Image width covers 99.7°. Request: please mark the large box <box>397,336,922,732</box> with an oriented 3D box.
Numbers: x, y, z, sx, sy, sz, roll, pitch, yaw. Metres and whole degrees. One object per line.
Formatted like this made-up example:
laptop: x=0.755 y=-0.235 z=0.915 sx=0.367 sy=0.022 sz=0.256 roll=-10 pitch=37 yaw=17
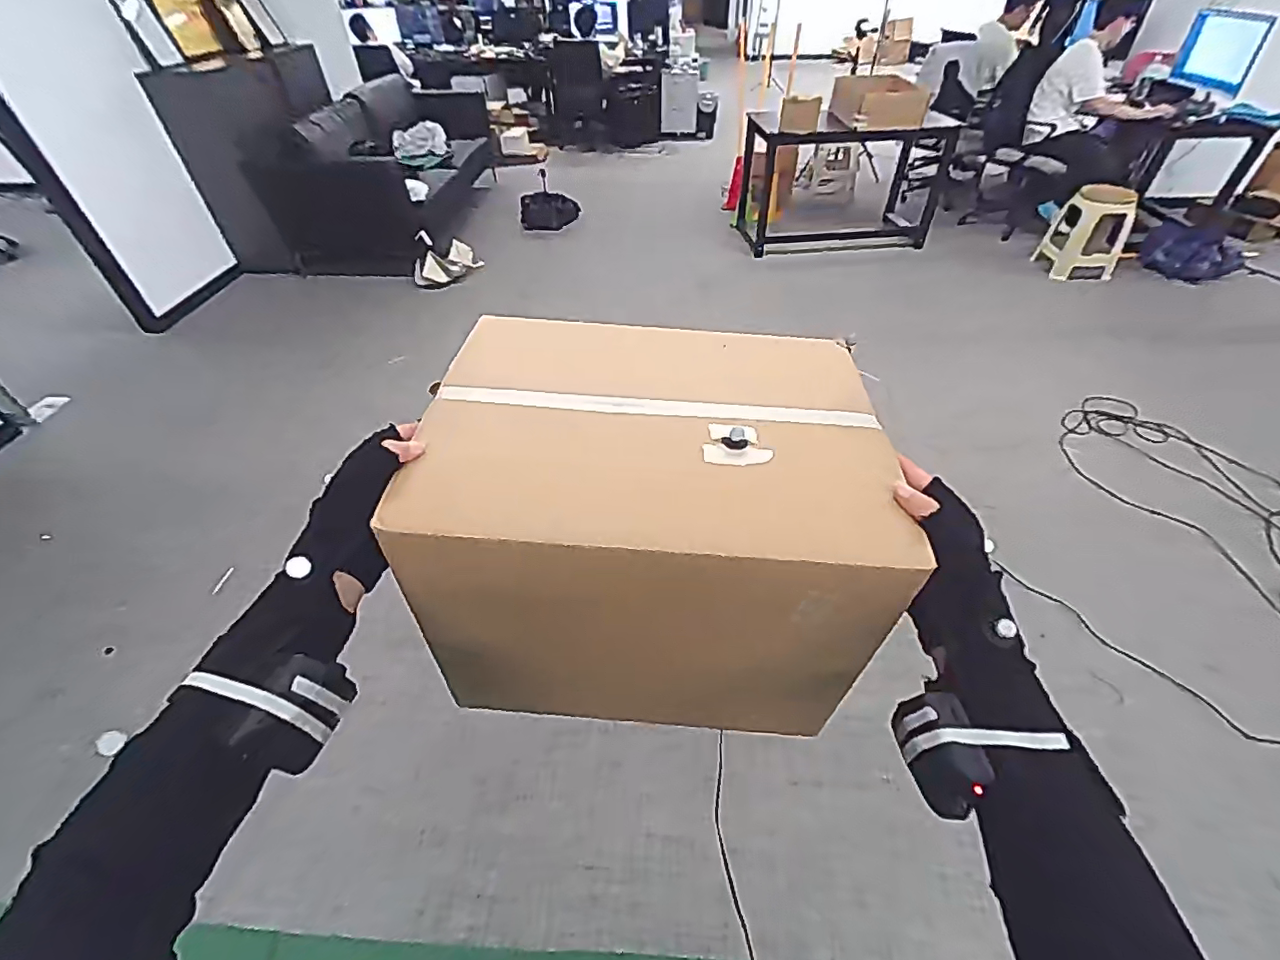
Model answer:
large box: x=0.011 y=0.061 z=0.609 sx=0.408 sy=0.320 sz=0.320 roll=5 pitch=44 yaw=0
